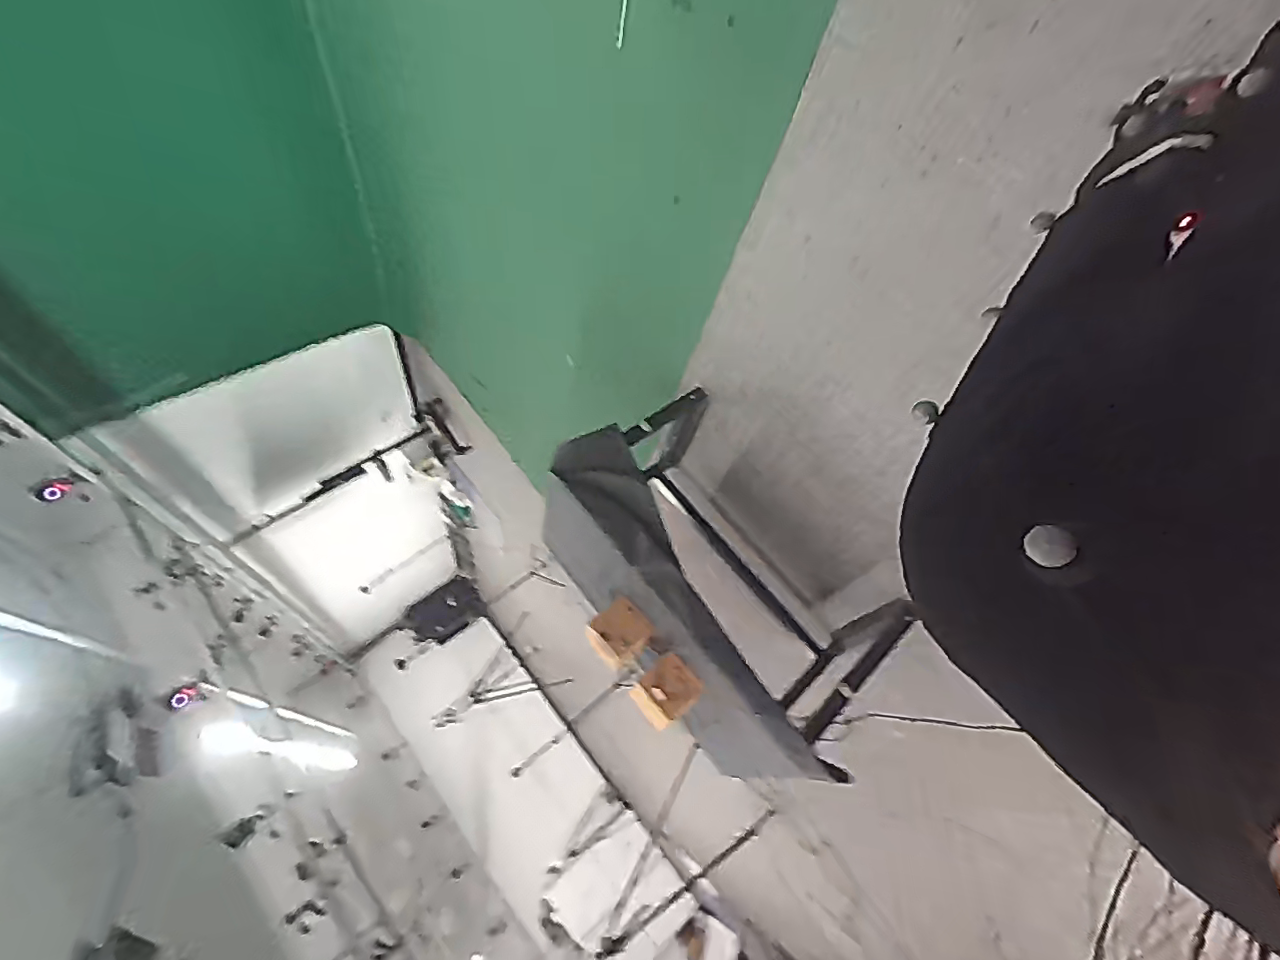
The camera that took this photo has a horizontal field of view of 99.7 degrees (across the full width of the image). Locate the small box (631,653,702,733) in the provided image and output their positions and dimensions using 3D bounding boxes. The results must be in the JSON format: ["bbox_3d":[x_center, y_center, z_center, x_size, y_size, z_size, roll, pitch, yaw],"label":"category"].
[{"bbox_3d":[0.090,0.724,1.843,0.168,0.176,0.179,44,150,22],"label":"small box"}]
